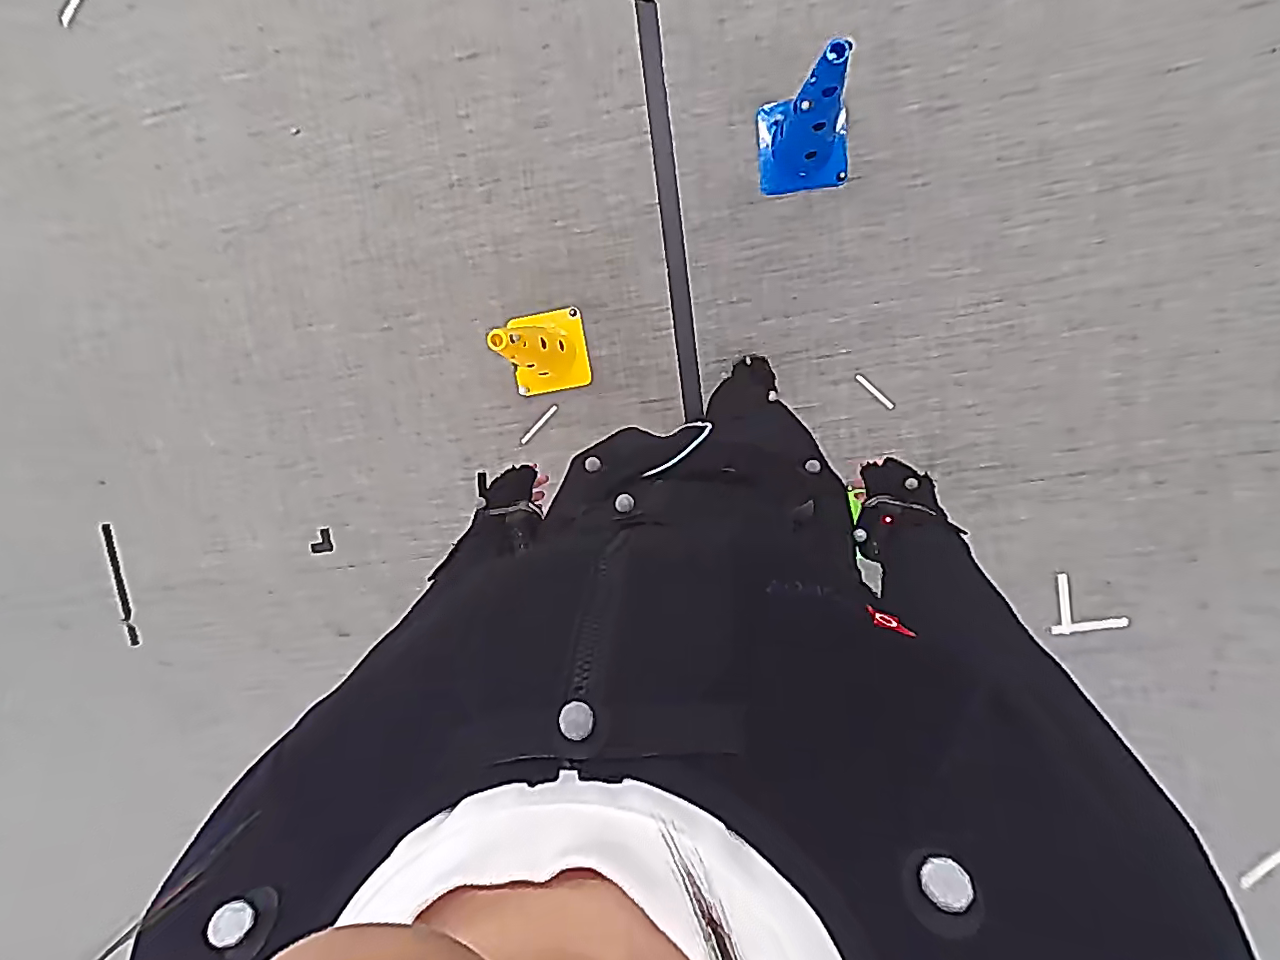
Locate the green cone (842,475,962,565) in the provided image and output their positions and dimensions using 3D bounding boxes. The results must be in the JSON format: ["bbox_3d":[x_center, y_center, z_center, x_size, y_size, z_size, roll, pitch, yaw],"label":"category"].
[{"bbox_3d":[0.598,0.119,1.188,0.202,0.368,0.200,-7,98,7],"label":"green cone"}]

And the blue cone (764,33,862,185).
[{"bbox_3d":[0.368,-0.766,1.096,0.192,0.380,0.193,-3,99,7],"label":"blue cone"}]
